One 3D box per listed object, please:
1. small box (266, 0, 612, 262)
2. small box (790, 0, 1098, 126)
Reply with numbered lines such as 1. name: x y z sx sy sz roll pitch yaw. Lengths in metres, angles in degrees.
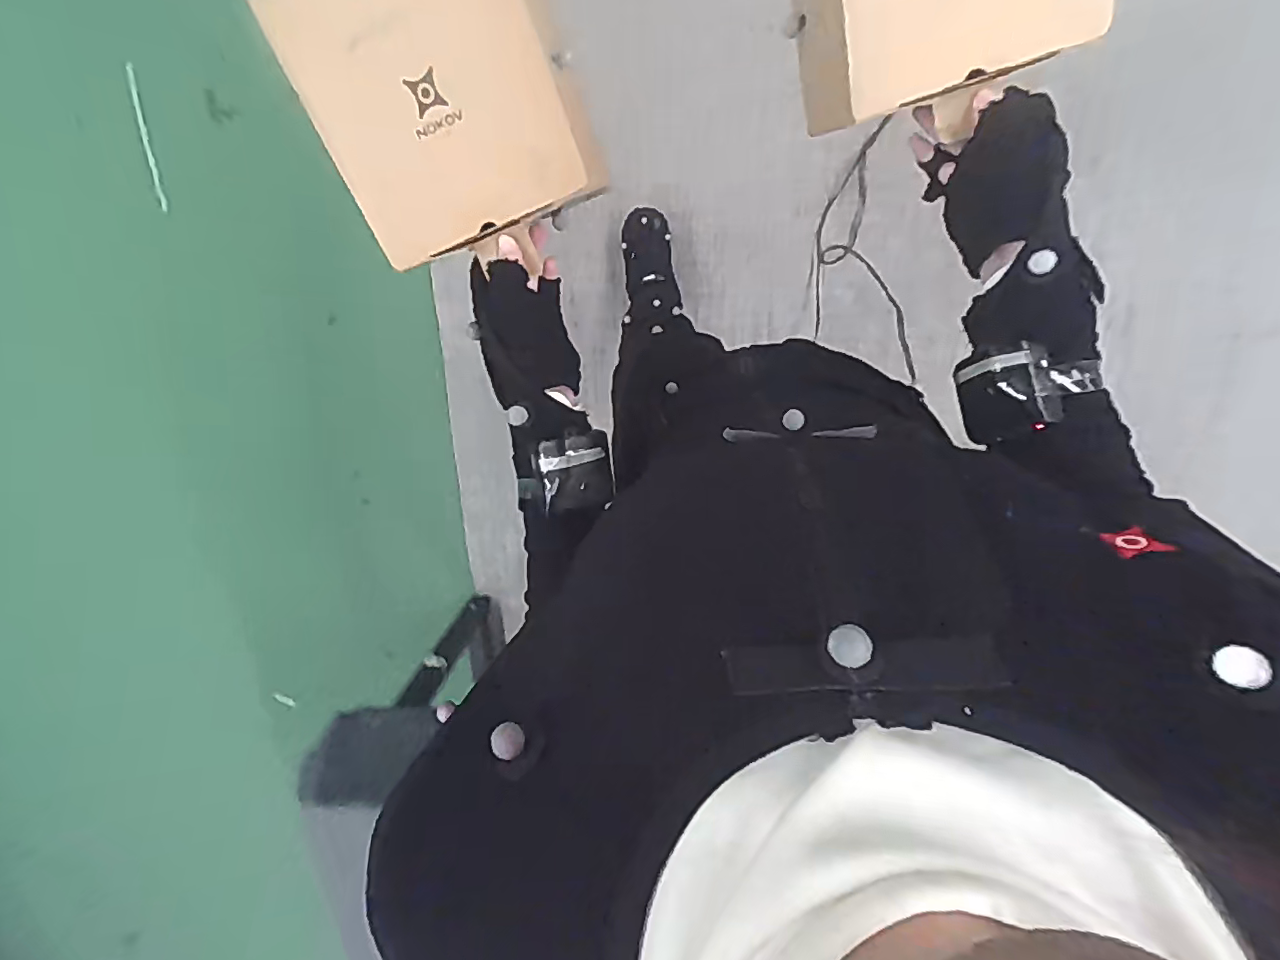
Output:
1. small box: -0.133 -0.302 0.439 0.168 0.176 0.179 -17 115 13
2. small box: 0.212 -0.393 0.411 0.168 0.176 0.179 -12 119 12
